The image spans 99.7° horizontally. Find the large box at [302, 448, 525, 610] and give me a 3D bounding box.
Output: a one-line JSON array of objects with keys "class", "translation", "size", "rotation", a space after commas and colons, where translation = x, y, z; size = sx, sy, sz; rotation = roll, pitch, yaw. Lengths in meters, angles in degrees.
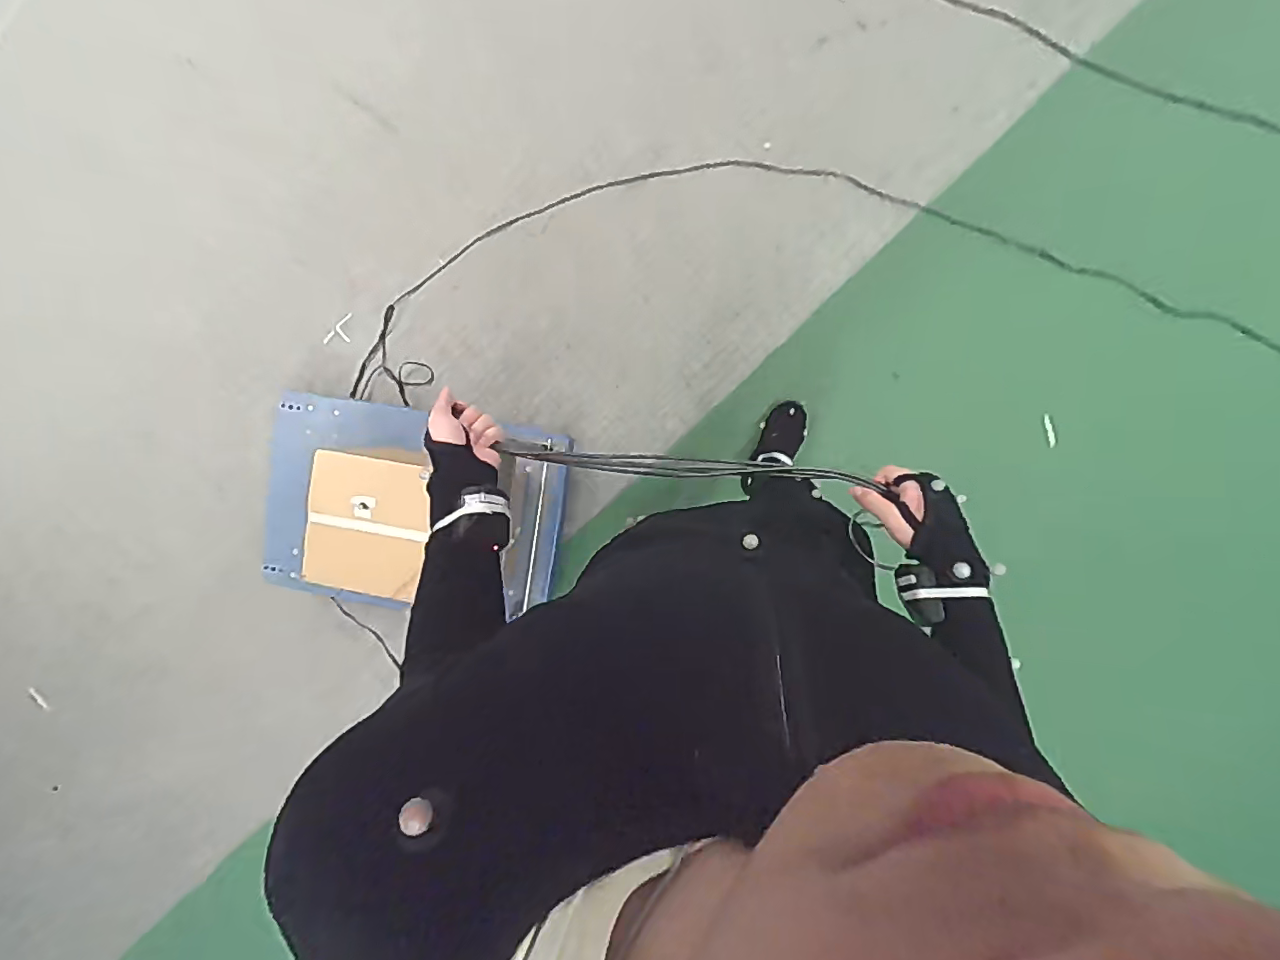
[{"class": "large box", "translation": [-0.539, 0.099, 1.350], "size": [0.408, 0.320, 0.320], "rotation": [10, 94, 7]}]
